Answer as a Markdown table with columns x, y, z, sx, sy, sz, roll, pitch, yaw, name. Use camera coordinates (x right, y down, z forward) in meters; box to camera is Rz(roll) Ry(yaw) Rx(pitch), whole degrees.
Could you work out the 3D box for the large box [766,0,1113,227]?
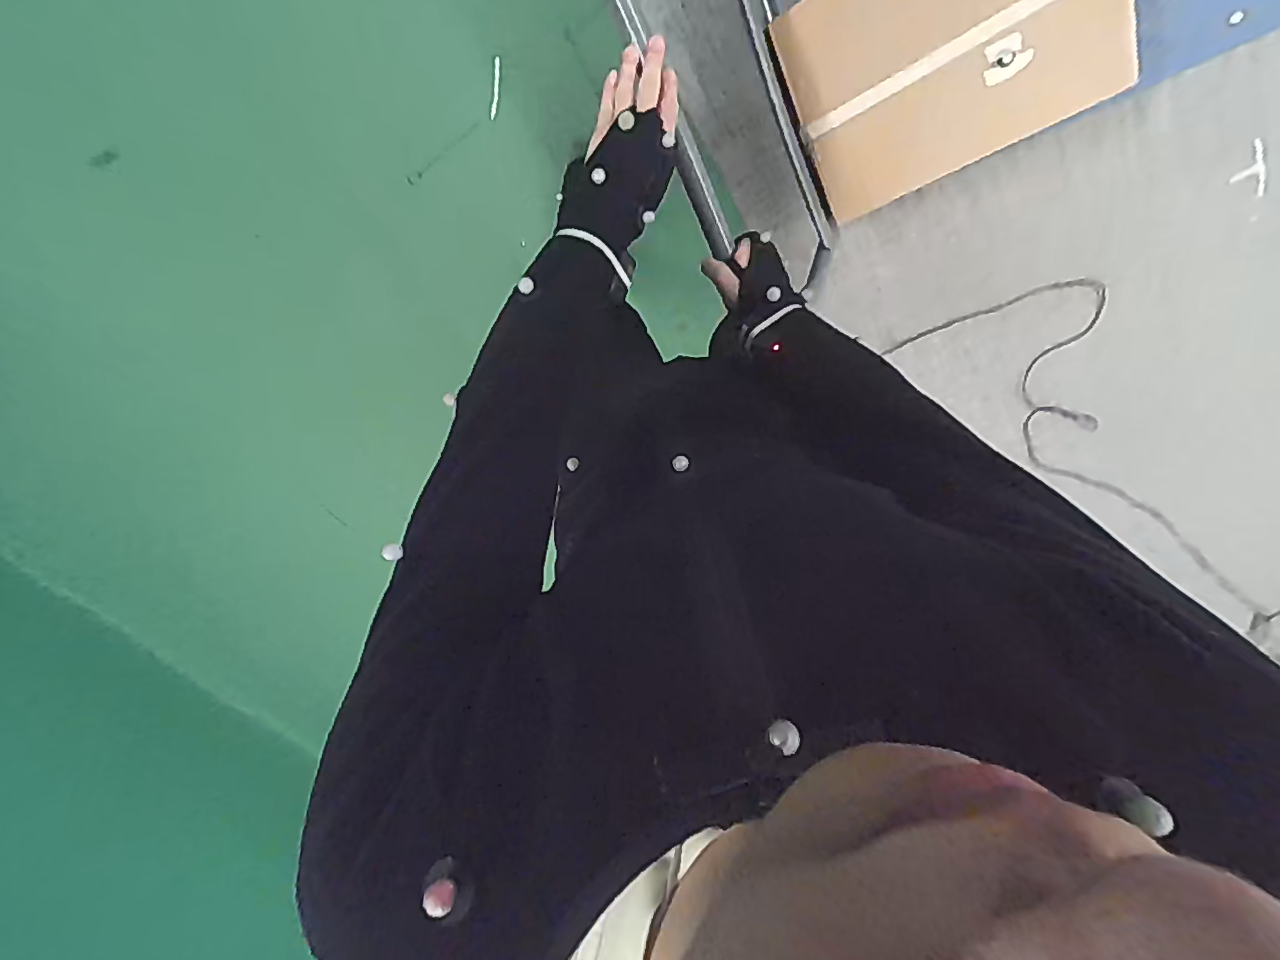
| x | y | z | sx | sy | sz | roll | pitch | yaw | name |
| --- | --- | --- | --- | --- | --- | --- | --- | --- | --- |
| 0.466 | -0.694 | 0.903 | 0.408 | 0.320 | 0.320 | -16 | 120 | 29 | large box |
